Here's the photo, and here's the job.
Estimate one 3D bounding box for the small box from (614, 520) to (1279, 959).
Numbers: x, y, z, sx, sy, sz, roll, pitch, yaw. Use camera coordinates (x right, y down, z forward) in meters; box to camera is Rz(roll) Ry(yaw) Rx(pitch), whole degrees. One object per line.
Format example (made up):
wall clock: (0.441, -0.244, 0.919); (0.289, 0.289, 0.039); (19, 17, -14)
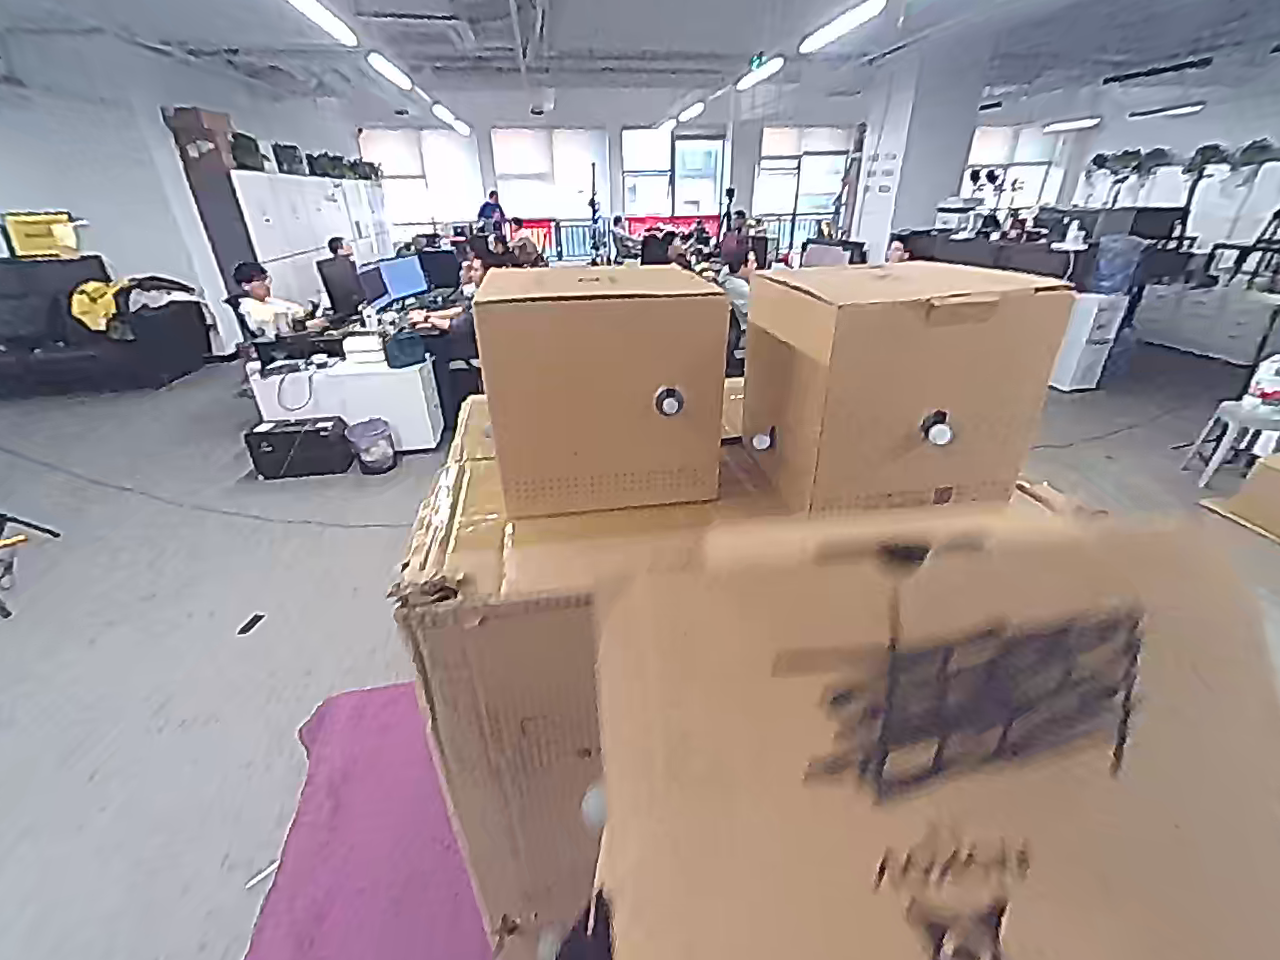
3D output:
small box: (0.081, 0.120, 0.206); (0.168, 0.179, 0.176); (-5, -14, 2)

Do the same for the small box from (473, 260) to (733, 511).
small box: (-0.033, -0.088, 0.463); (0.179, 0.176, 0.168); (-6, 27, -8)

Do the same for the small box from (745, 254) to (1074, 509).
small box: (0.193, -0.085, 0.450); (0.168, 0.176, 0.179); (-5, 28, -6)
